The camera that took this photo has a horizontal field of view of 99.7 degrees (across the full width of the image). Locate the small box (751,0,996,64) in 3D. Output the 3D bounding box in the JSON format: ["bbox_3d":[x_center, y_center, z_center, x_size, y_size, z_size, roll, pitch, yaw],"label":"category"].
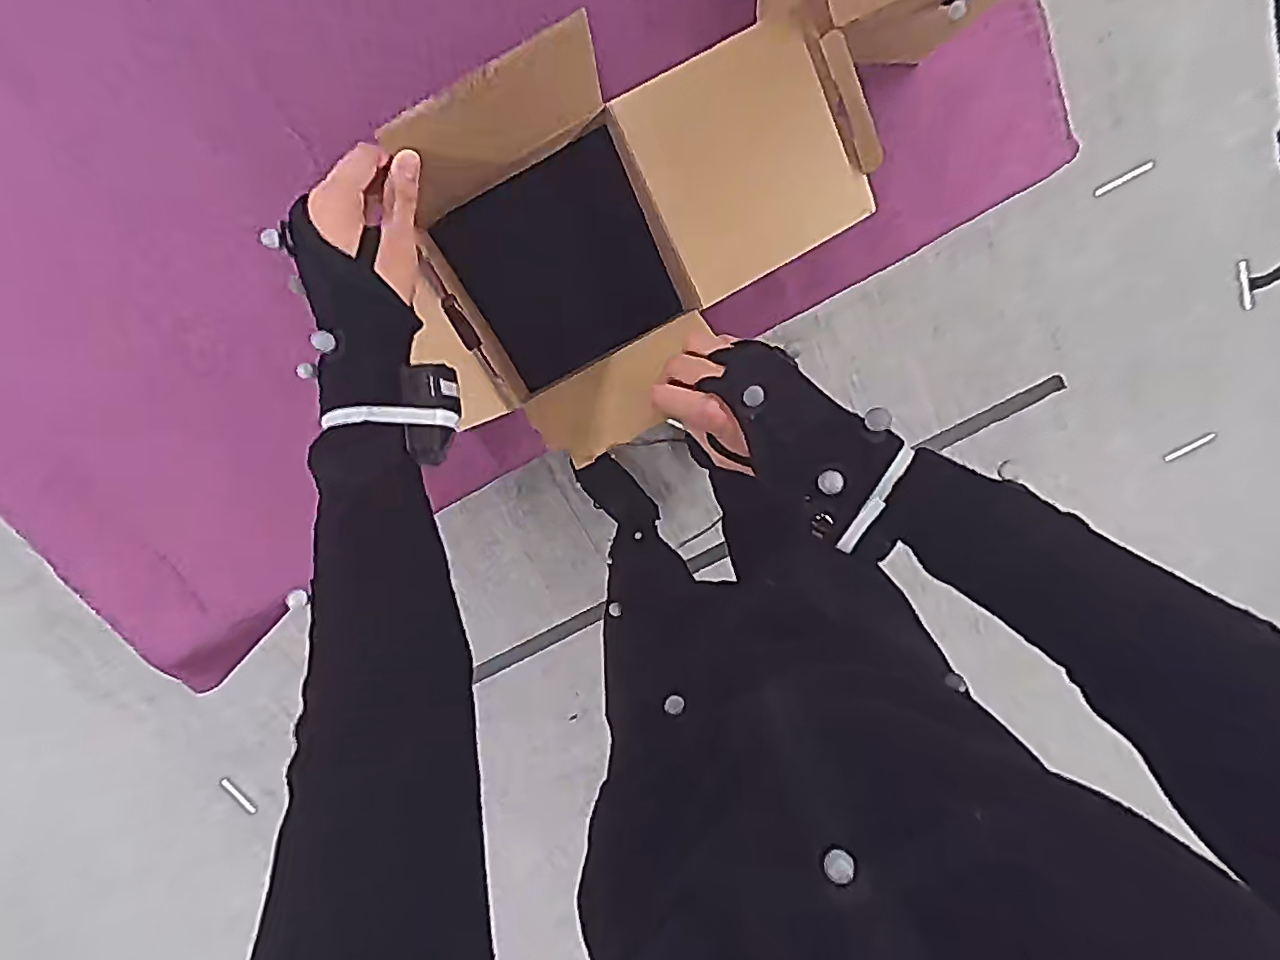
[{"bbox_3d":[0.203,-0.472,0.442,0.179,0.176,0.168,-4,107,-5],"label":"small box"}]
